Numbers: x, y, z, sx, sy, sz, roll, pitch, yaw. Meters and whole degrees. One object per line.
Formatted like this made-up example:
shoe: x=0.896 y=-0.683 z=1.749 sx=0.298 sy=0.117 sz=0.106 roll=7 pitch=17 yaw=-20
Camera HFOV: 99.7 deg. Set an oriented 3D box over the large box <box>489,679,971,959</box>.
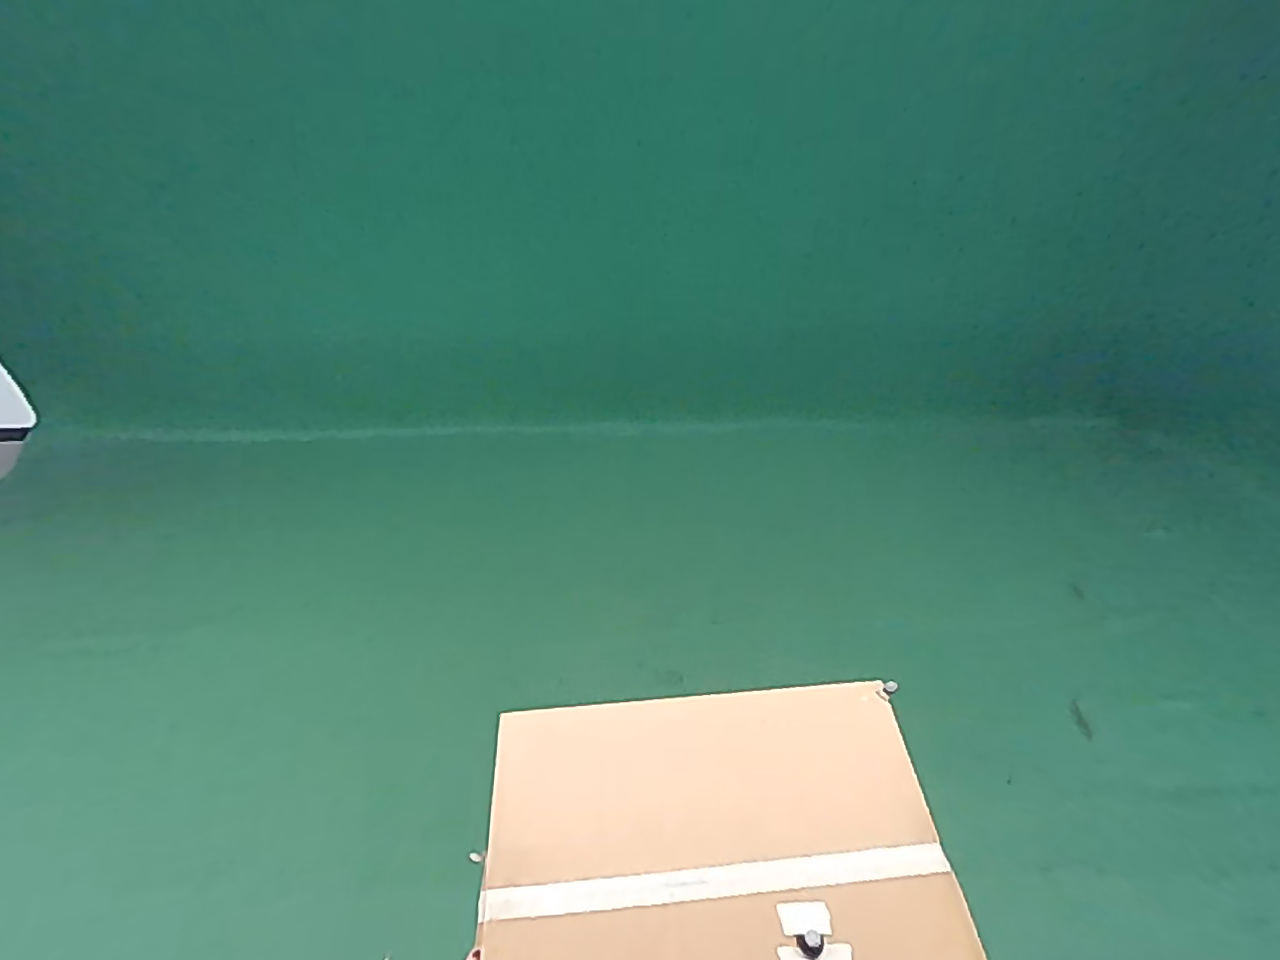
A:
large box: x=0.067 y=0.445 z=0.595 sx=0.408 sy=0.320 sz=0.320 roll=-4 pitch=51 yaw=-3
